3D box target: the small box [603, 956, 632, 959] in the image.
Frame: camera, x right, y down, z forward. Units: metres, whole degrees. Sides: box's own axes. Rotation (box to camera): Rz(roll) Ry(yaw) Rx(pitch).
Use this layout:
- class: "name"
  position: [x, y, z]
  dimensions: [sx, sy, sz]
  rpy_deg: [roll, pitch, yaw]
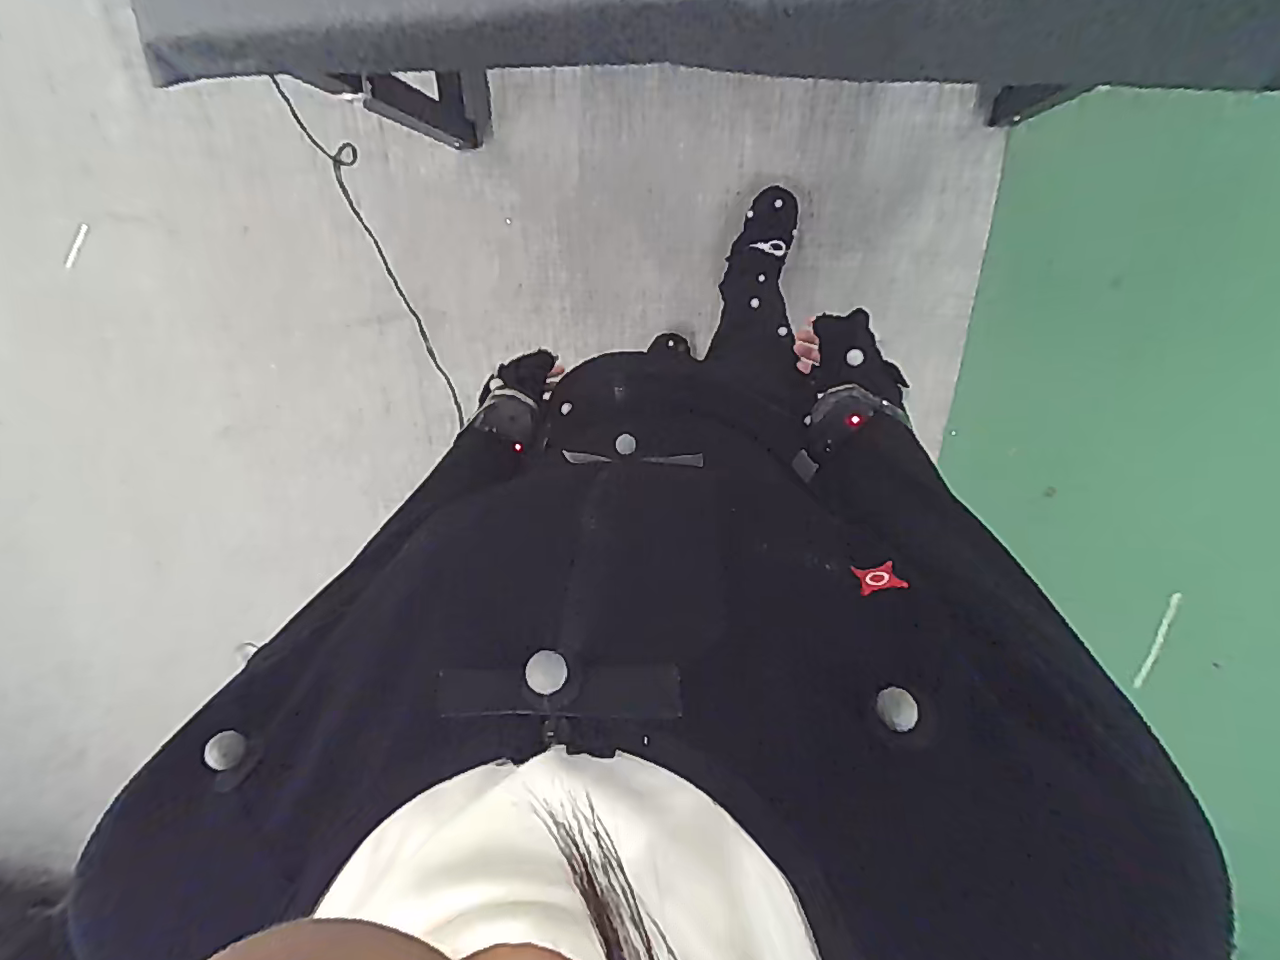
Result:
- class: "small box"
  position: [-0.061, 1.711, 1.769]
  dimensions: [0.179, 0.176, 0.168]
  rpy_deg: [0, 106, 8]
